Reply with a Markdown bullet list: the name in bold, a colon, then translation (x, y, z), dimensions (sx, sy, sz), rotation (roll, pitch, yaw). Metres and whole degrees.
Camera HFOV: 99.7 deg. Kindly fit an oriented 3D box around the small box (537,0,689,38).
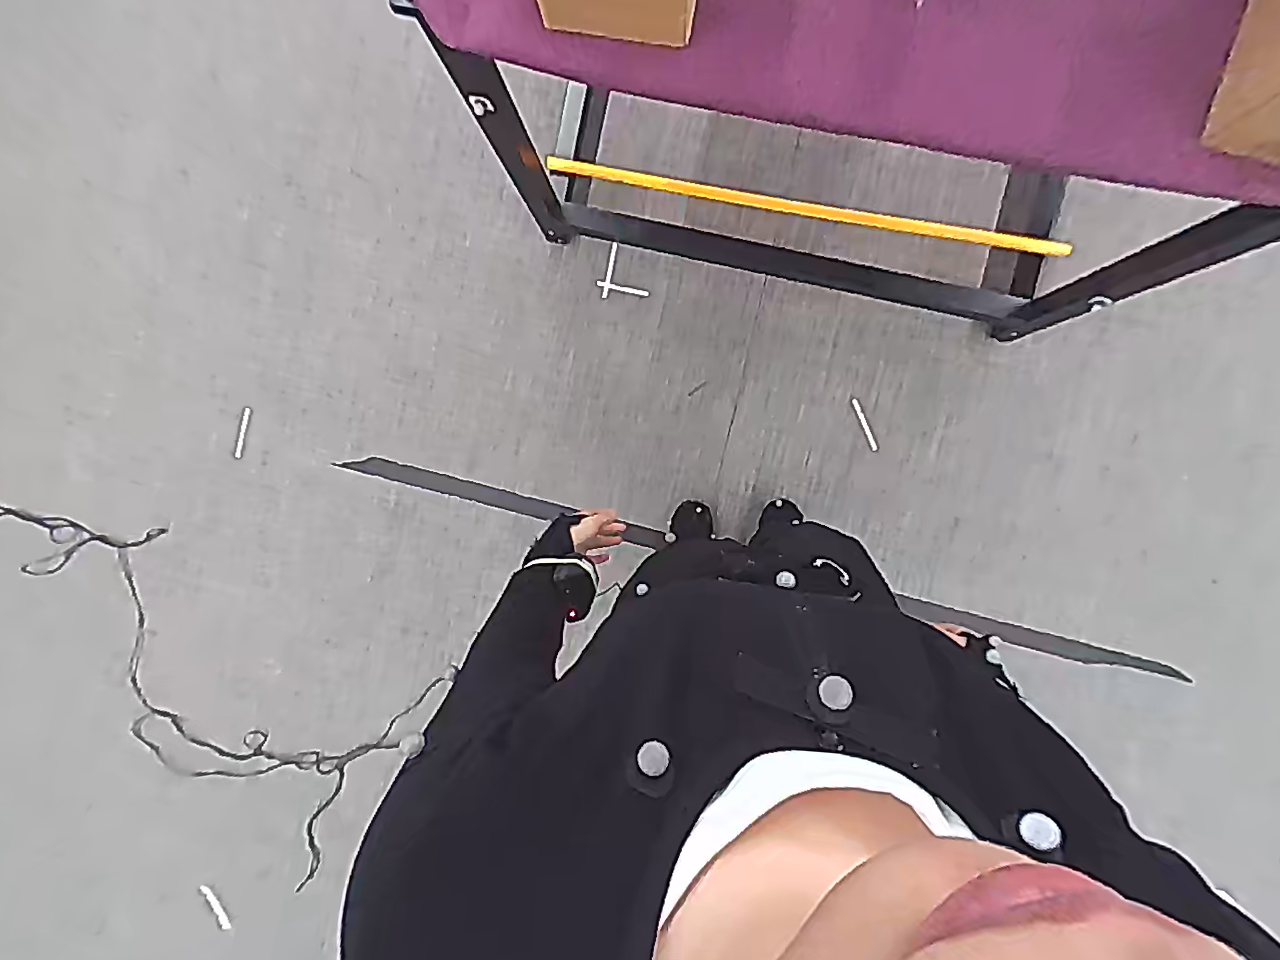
- **small box**: translation (-0.027, -0.608, 0.560), dimensions (0.179, 0.176, 0.168), rotation (10, 91, 2)
